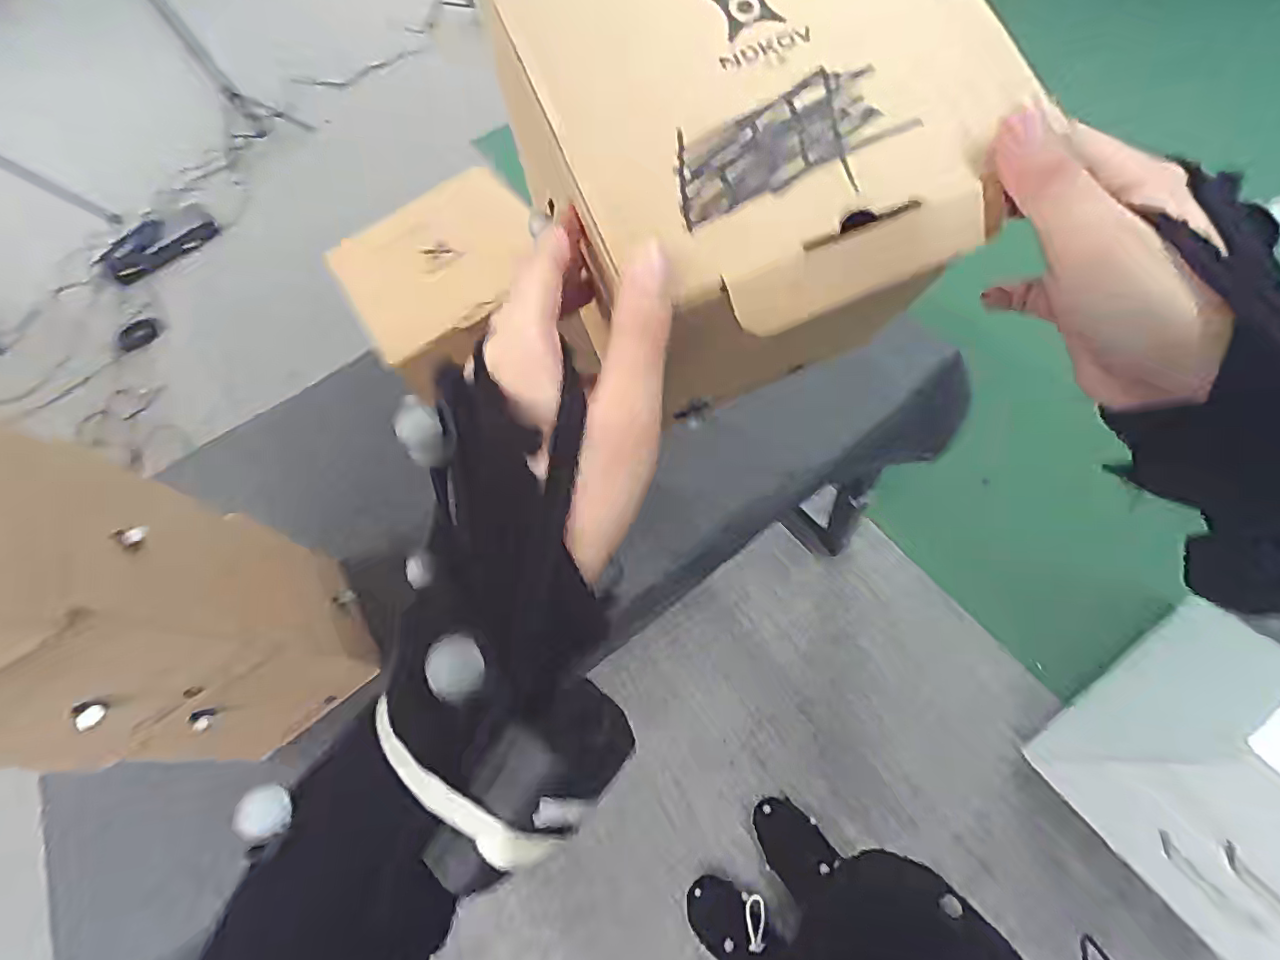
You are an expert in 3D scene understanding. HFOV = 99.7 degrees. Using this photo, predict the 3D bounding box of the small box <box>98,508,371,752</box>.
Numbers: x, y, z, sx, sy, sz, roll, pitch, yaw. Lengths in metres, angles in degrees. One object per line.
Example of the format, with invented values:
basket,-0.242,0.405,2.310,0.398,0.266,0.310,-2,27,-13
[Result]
small box,-0.433,0.169,0.584,0.168,0.176,0.179,-37,62,-9

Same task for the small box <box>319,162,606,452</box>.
small box,-0.153,-0.150,0.511,0.168,0.176,0.179,-35,61,-9
